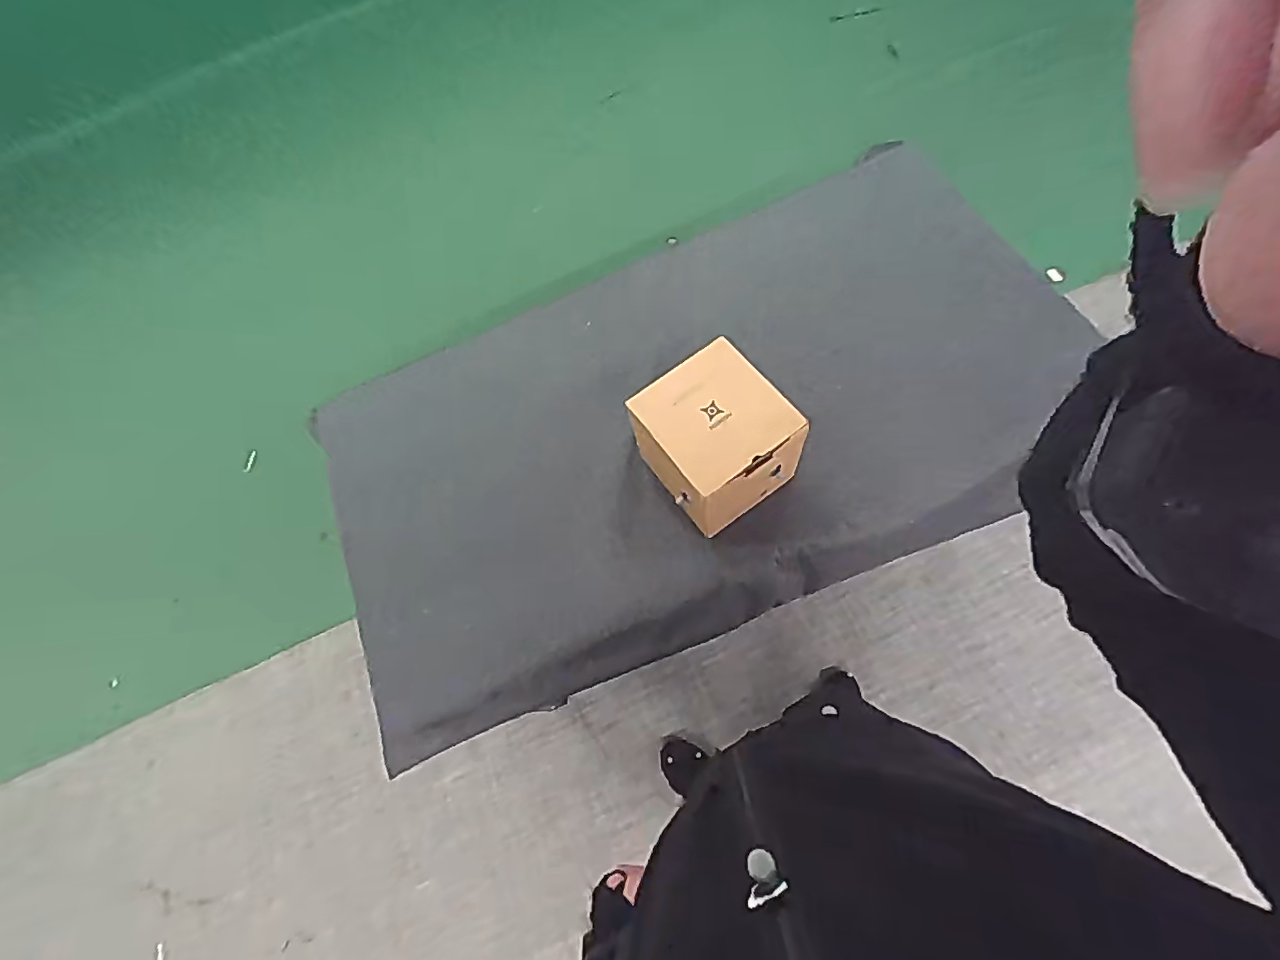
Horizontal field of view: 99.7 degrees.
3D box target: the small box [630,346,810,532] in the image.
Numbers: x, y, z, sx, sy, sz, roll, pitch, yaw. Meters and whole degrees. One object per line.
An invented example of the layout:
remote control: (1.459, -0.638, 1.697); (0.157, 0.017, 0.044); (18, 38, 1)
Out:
small box: (0.110, -0.046, 0.765); (0.168, 0.176, 0.179); (-35, 66, -8)
